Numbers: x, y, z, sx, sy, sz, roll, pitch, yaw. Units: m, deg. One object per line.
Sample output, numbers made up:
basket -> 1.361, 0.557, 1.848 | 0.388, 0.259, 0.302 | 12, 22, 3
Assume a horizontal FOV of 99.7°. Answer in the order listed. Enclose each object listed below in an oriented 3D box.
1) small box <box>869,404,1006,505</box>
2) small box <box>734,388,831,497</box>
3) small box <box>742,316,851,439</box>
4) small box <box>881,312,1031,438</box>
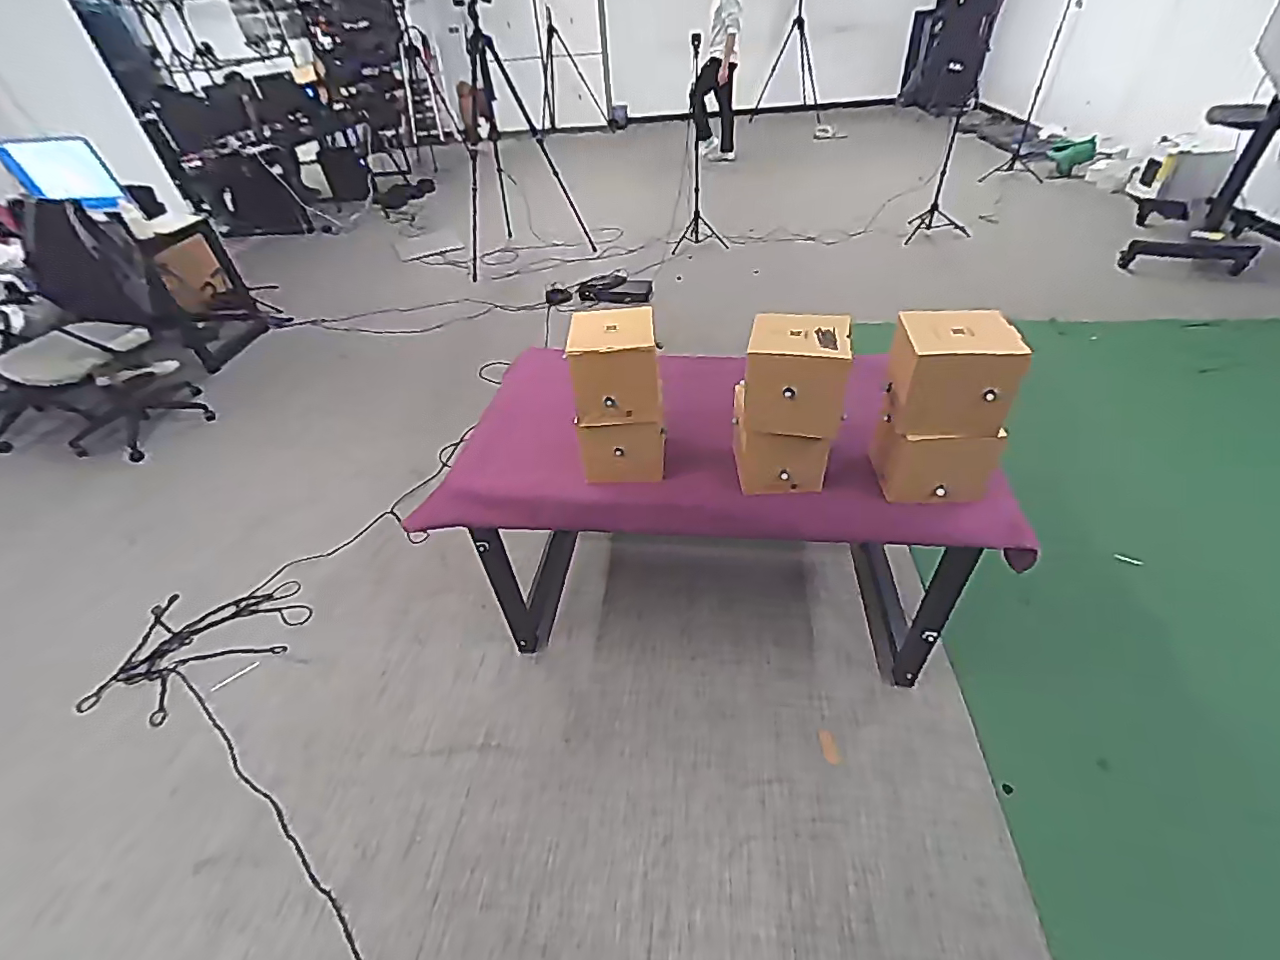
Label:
small box -> 0.582, -0.062, 1.085 | 0.179, 0.176, 0.168 | -1, 41, 6
small box -> 0.292, -0.083, 1.145 | 0.168, 0.176, 0.179 | -3, 40, 4
small box -> 0.292, -0.192, 1.019 | 0.179, 0.176, 0.168 | 6, 42, 15
small box -> 0.558, -0.190, 0.984 | 0.179, 0.176, 0.168 | 2, 42, 11
